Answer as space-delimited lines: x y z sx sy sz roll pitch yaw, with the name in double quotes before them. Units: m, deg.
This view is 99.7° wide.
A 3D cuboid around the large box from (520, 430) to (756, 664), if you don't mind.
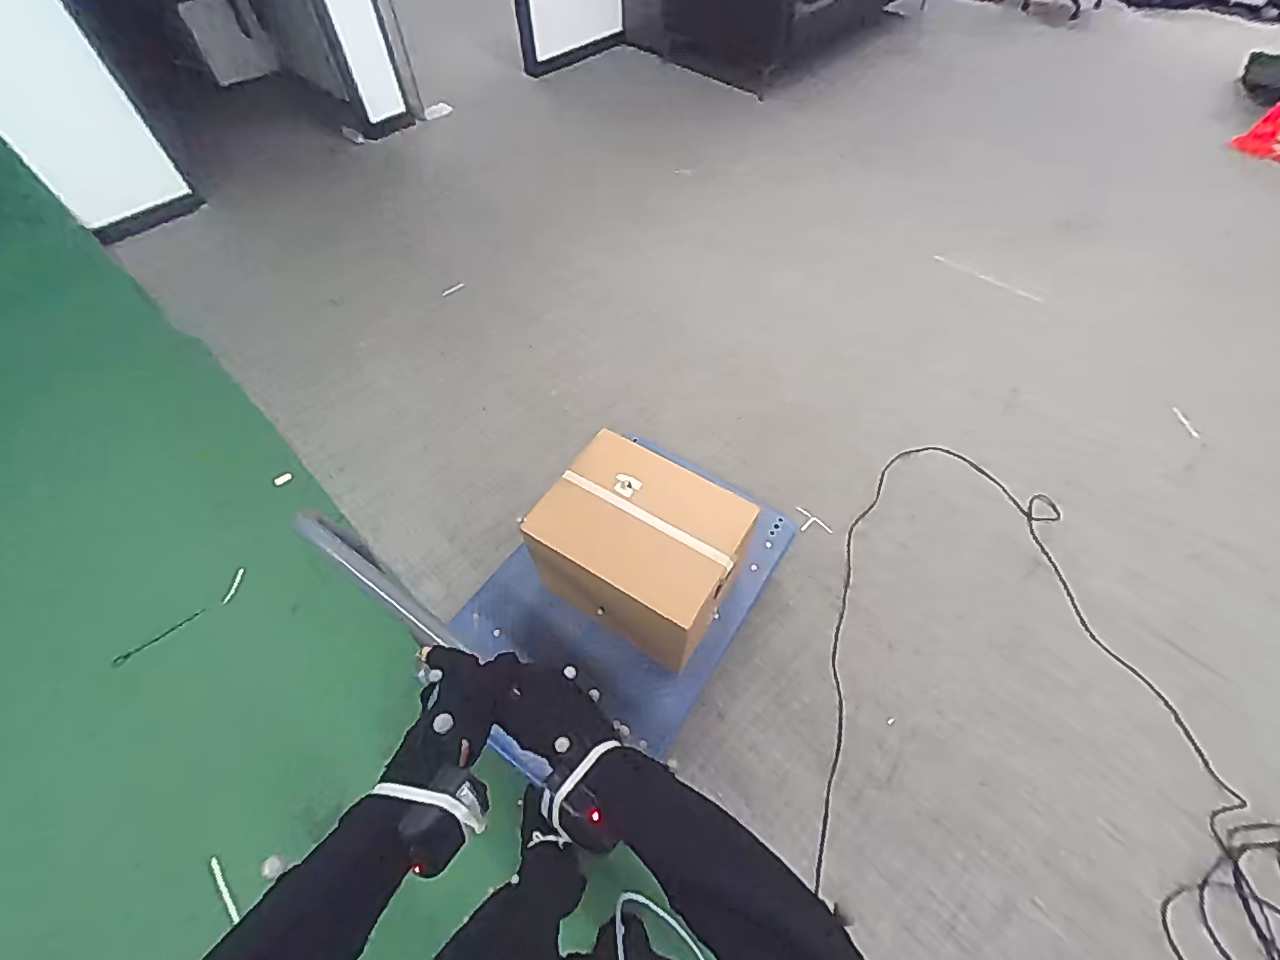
"large box" 0.003 0.158 1.243 0.408 0.320 0.320 27 60 18
